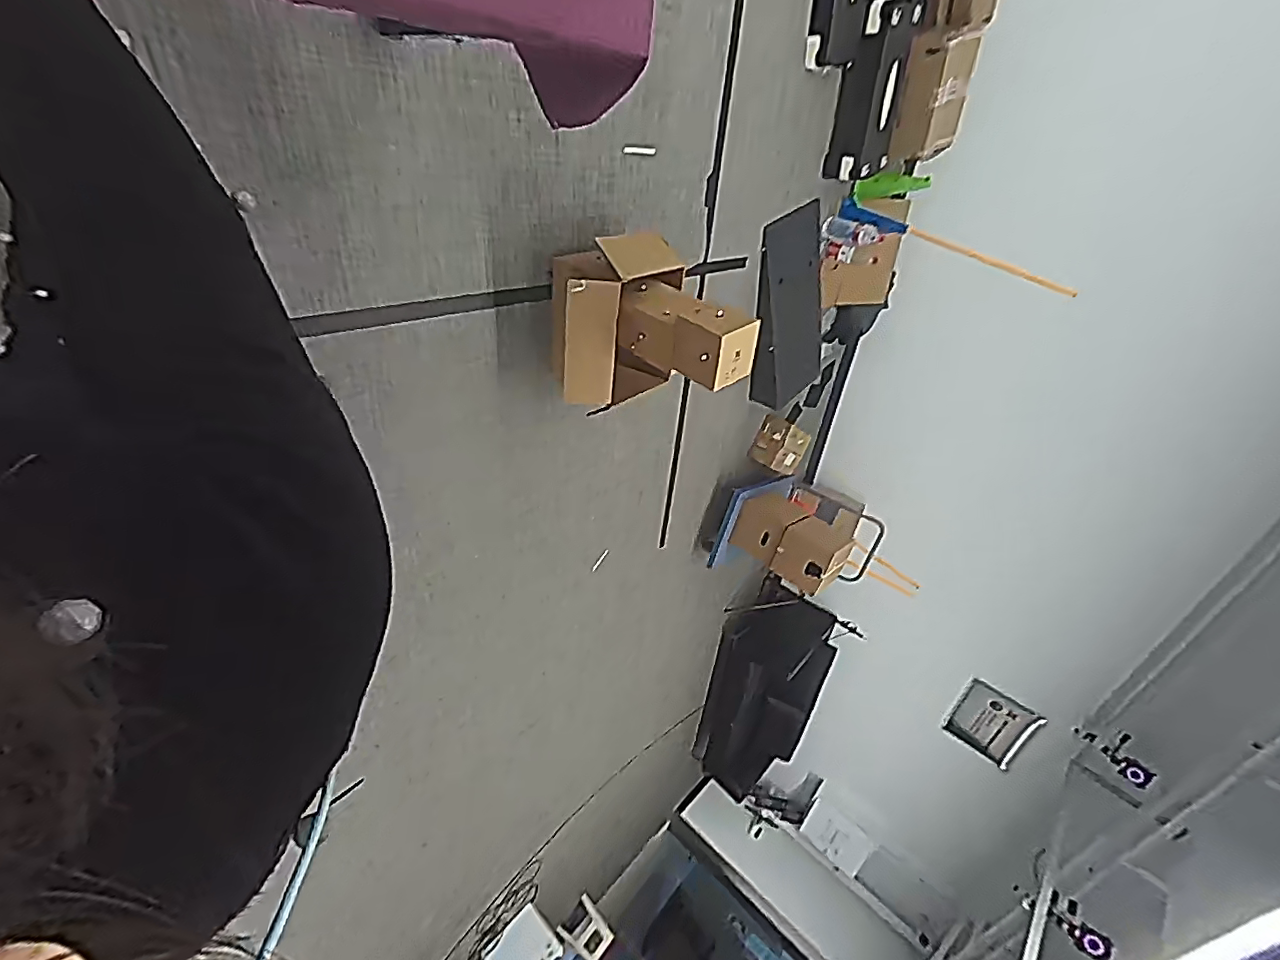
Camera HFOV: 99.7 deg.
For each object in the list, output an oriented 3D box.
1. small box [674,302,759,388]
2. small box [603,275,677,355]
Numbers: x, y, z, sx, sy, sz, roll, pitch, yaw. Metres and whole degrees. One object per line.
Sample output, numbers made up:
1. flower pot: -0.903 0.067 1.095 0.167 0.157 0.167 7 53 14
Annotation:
1. small box: 0.213 -0.395 1.549 0.168 0.176 0.179 -30 141 -32
2. small box: -0.001 -0.544 1.753 0.168 0.176 0.179 -40 147 -21
